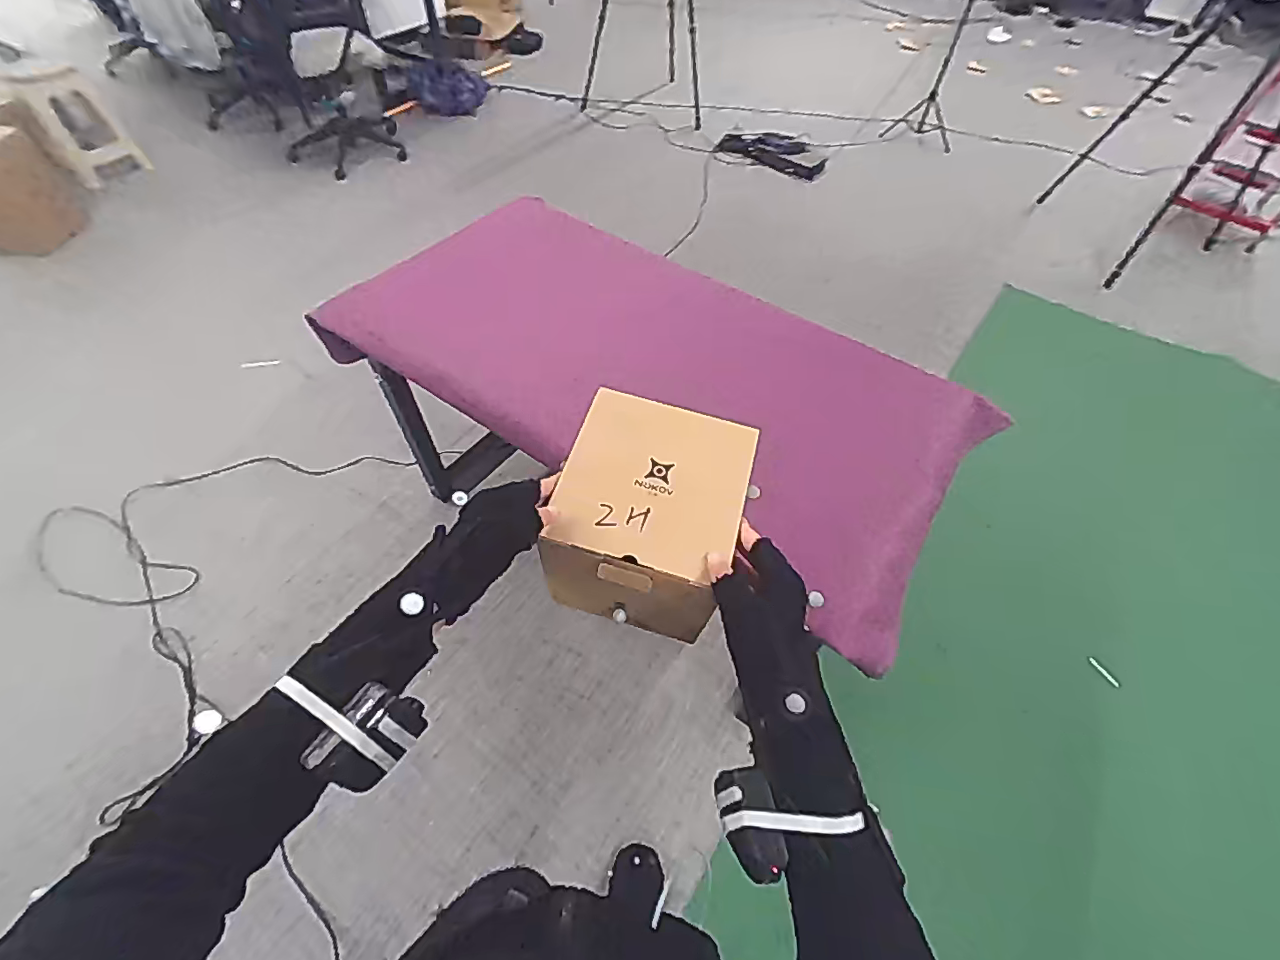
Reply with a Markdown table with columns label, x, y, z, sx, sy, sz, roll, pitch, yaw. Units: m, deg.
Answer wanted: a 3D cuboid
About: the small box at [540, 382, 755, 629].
| label | x | y | z | sx | sy | sz | roll | pitch | yaw |
| --- | --- | --- | --- | --- | --- | --- | --- | --- | --- |
| small box | 0.008 | 0.032 | 0.565 | 0.168 | 0.176 | 0.179 | 15 | 60 | 5 |
